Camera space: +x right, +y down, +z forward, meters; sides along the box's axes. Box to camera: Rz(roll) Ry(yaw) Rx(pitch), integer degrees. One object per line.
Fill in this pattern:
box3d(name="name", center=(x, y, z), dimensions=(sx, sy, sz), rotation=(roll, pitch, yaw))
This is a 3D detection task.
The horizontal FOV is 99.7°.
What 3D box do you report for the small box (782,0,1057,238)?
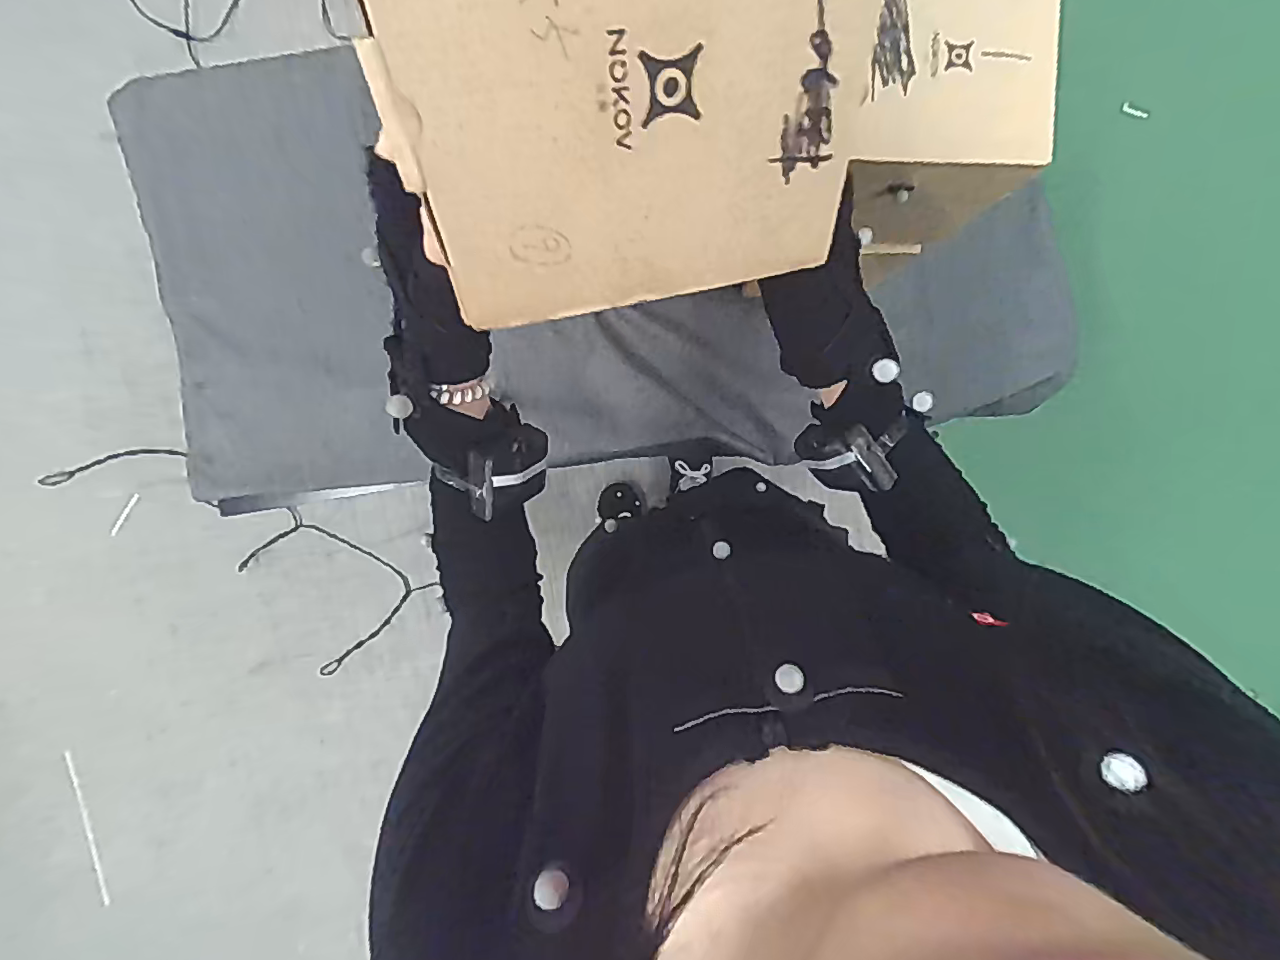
box3d(name="small box", center=(0.238, -0.339, 0.503), dimensions=(0.179, 0.176, 0.168), rotation=(1, 94, -1))
